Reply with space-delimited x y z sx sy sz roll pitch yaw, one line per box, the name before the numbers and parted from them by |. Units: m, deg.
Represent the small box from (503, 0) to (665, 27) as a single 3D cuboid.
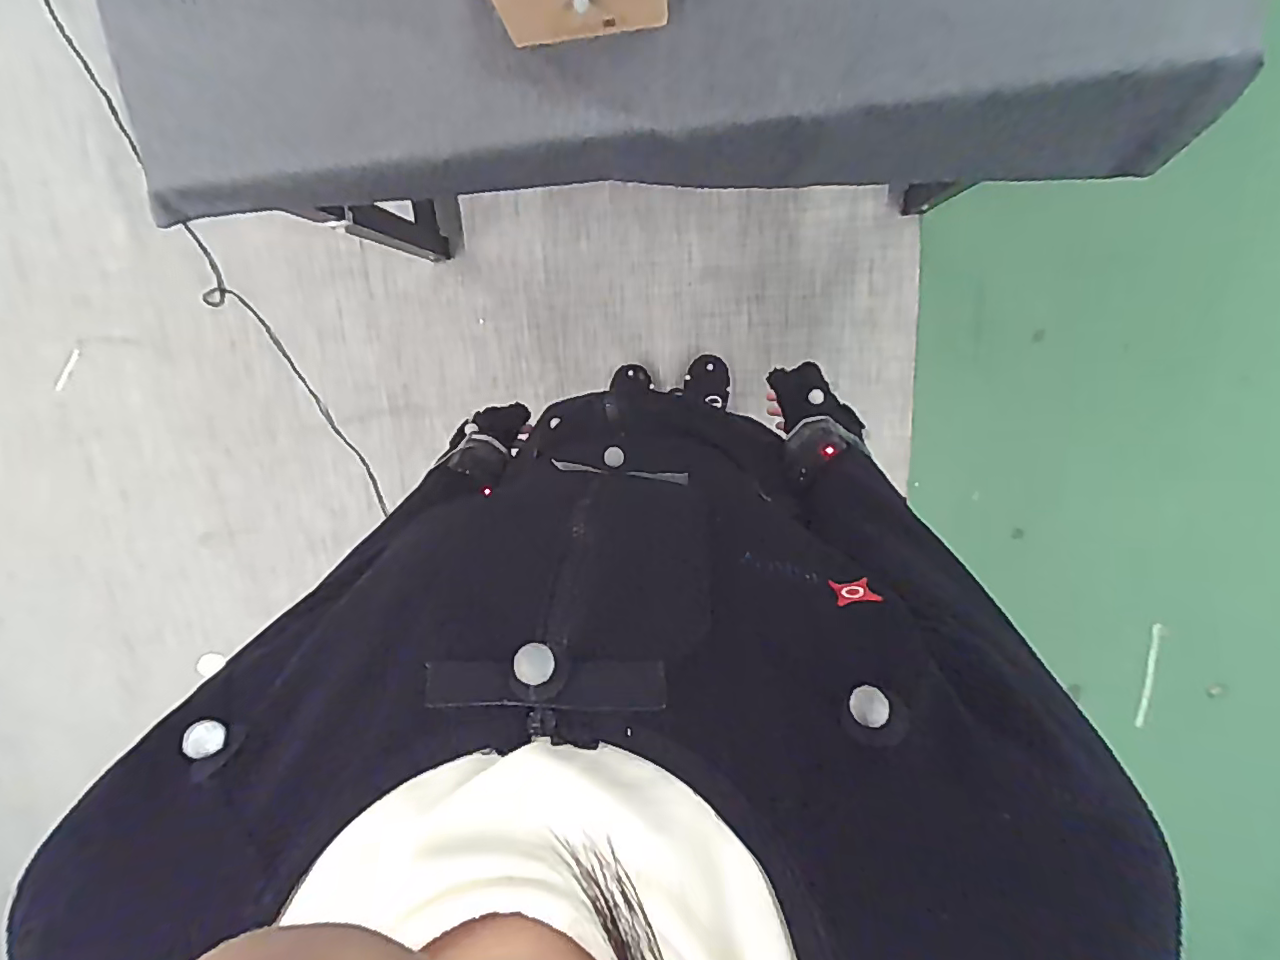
small box | -0.064 -0.540 0.473 0.168 0.176 0.179 -5 105 5
